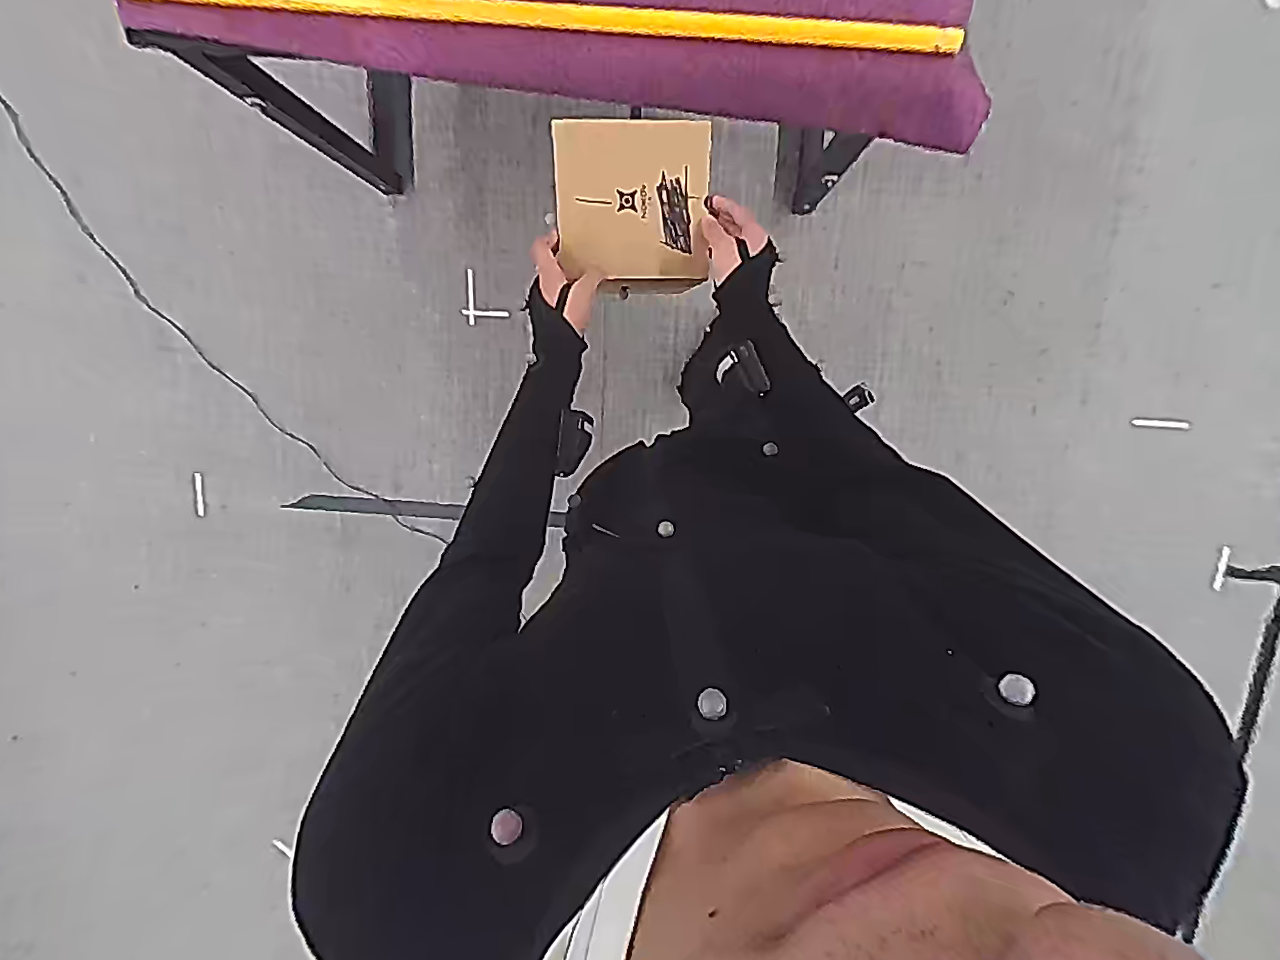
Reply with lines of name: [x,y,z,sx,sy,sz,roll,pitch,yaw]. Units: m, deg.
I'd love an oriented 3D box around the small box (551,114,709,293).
small box: [-0.020,-0.333,0.682,0.179,0.176,0.168,-2,104,-6]
